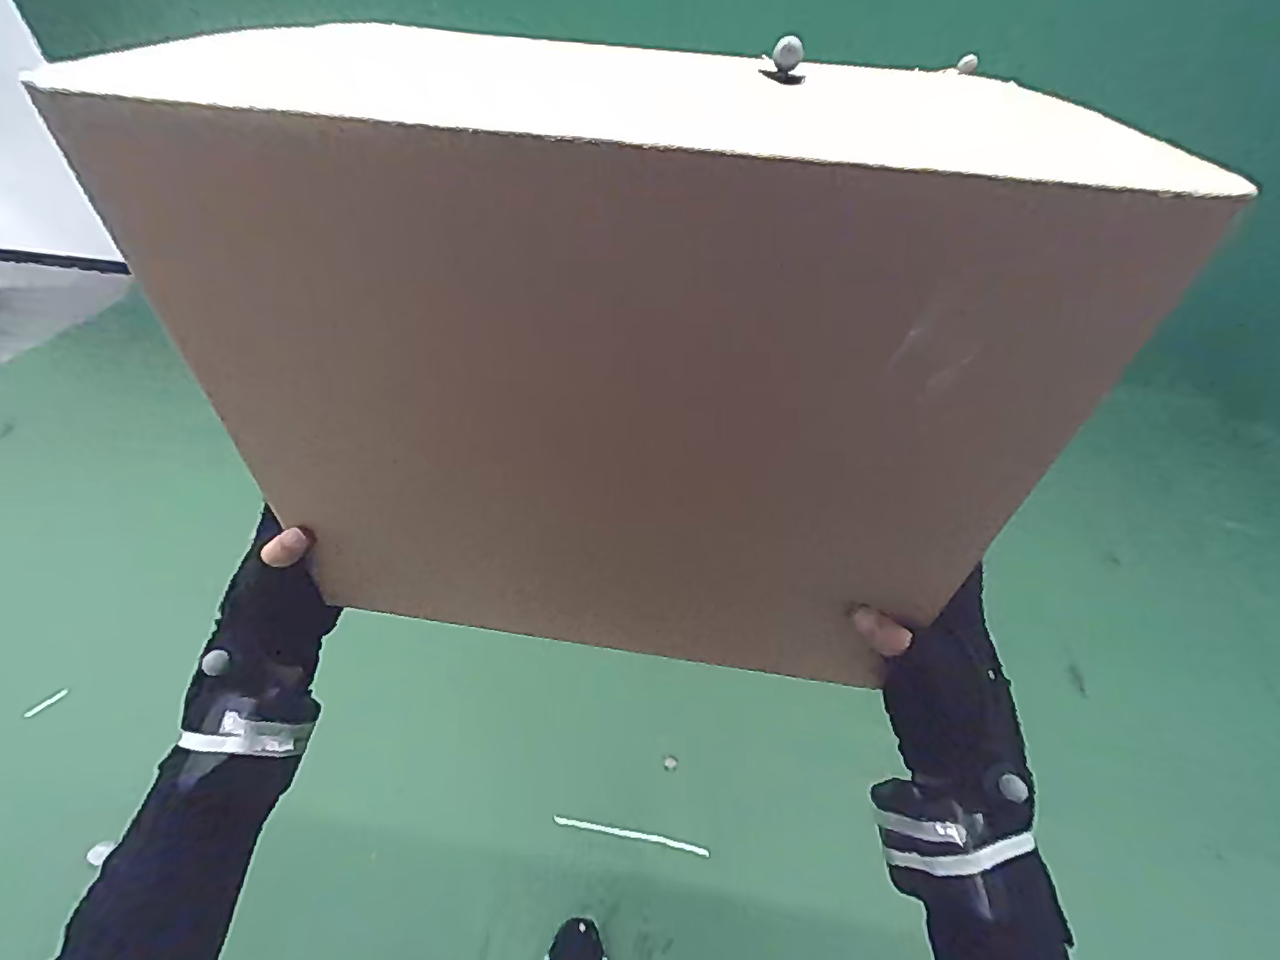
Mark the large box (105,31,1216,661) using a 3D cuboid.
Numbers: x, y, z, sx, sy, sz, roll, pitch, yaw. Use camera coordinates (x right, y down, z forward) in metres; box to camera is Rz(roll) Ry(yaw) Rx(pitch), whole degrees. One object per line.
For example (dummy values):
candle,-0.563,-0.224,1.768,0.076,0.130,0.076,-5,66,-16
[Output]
large box,0.005,-0.103,0.397,0.408,0.320,0.320,8,44,2
